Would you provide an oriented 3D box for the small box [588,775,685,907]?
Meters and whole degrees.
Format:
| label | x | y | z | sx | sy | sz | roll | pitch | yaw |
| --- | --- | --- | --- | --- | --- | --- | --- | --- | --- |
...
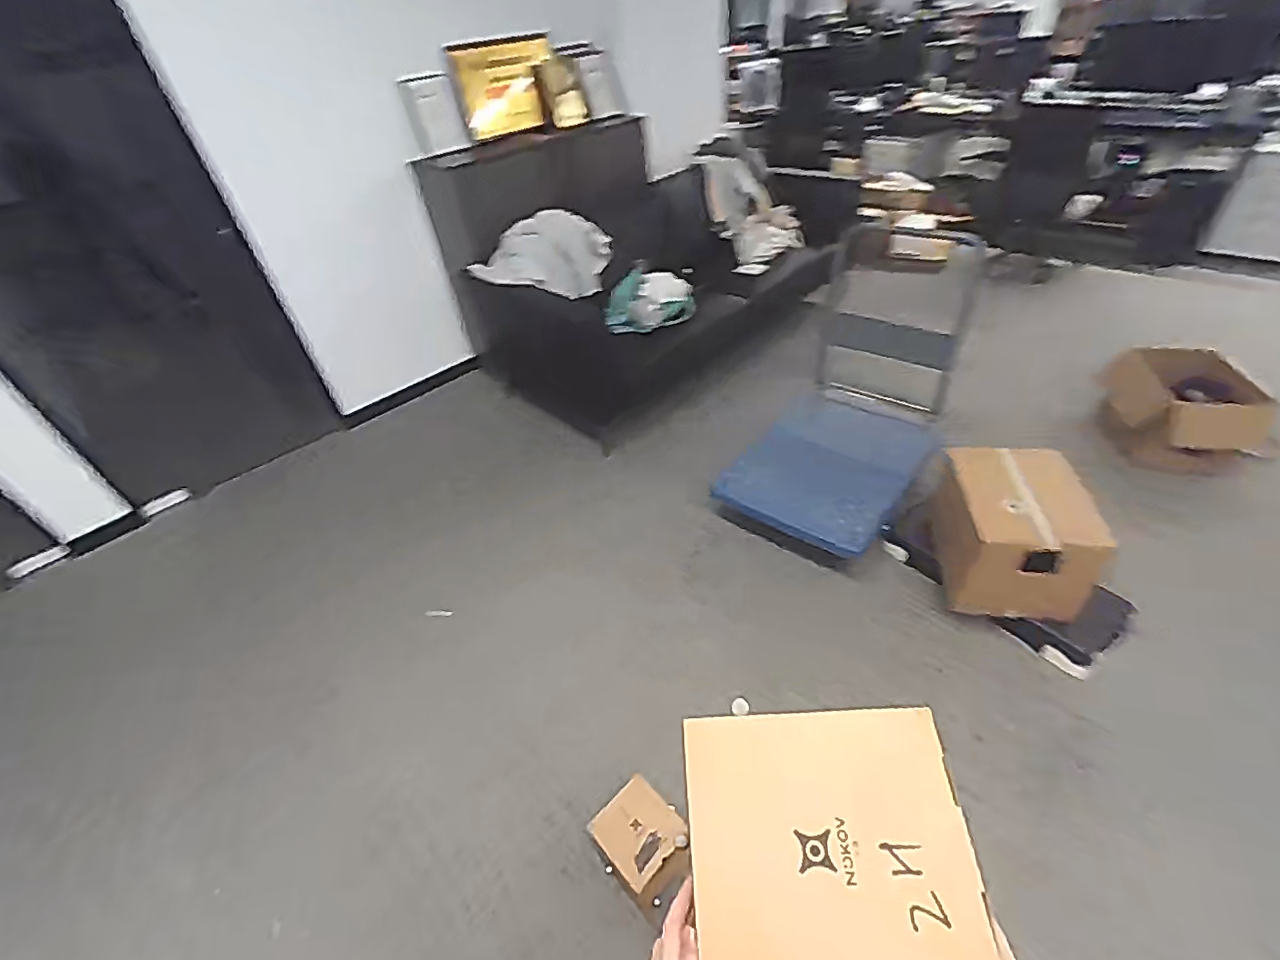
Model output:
| label | x | y | z | sx | sy | sz | roll | pitch | yaw |
| --- | --- | --- | --- | --- | --- | --- | --- | --- | --- |
| small box | 0.007 | 0.834 | 1.244 | 0.168 | 0.176 | 0.179 | -33 | 46 | -28 |

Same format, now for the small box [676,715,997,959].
| label | x | y | z | sx | sy | sz | roll | pitch | yaw |
| --- | --- | --- | --- | --- | --- | --- | --- | --- | --- |
| small box | 0.124 | 0.279 | 0.406 | 0.179 | 0.176 | 0.168 | -5 | 60 | 3 |
